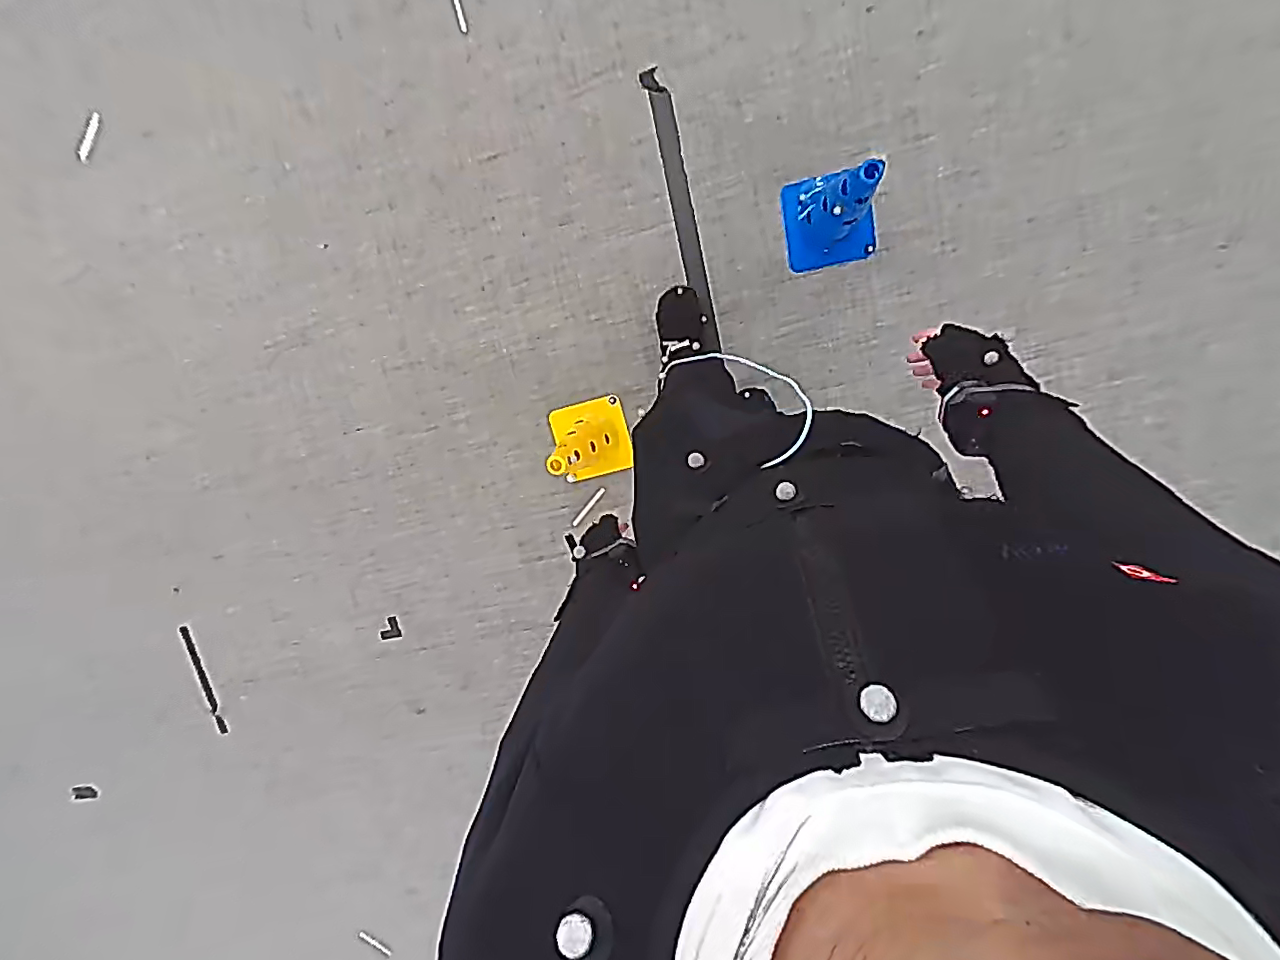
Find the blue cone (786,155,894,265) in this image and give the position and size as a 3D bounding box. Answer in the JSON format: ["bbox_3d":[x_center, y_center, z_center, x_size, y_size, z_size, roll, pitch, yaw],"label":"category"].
[{"bbox_3d":[0.426,-0.576,1.106,0.192,0.380,0.193,-8,101,8],"label":"blue cone"}]
